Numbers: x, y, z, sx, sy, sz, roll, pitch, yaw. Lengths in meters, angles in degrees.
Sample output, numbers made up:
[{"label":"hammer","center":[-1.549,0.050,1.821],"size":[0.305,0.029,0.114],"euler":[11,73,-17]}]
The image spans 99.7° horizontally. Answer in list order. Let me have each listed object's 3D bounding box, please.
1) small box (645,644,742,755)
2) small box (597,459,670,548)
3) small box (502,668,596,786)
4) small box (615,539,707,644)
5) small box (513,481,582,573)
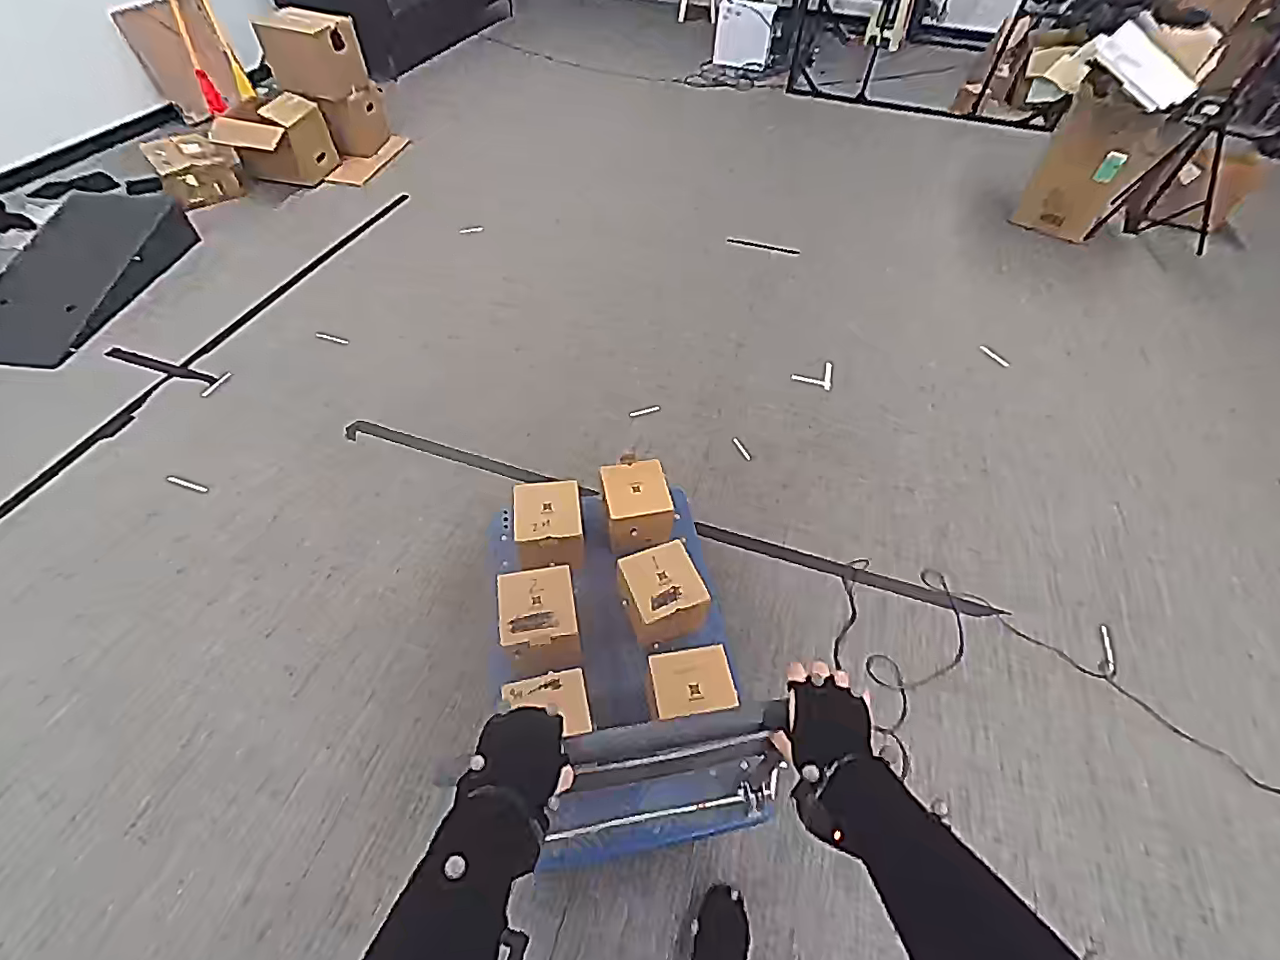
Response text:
[{"label":"small box","center":[0.107,0.478,1.166],"size":[0.168,0.176,0.179],"euler":[-6,52,-9]},{"label":"small box","center":[-0.020,0.071,1.481],"size":[0.168,0.176,0.179],"euler":[-9,53,-10]},{"label":"small box","center":[-0.184,0.515,1.116],"size":[0.168,0.176,0.179],"euler":[-9,53,-11]},{"label":"small box","center":[0.046,0.279,1.319],"size":[0.168,0.176,0.179],"euler":[-17,54,-16]},{"label":"small box","center":[-0.241,0.125,1.422],"size":[0.168,0.176,0.179],"euler":[-5,53,-8]}]
